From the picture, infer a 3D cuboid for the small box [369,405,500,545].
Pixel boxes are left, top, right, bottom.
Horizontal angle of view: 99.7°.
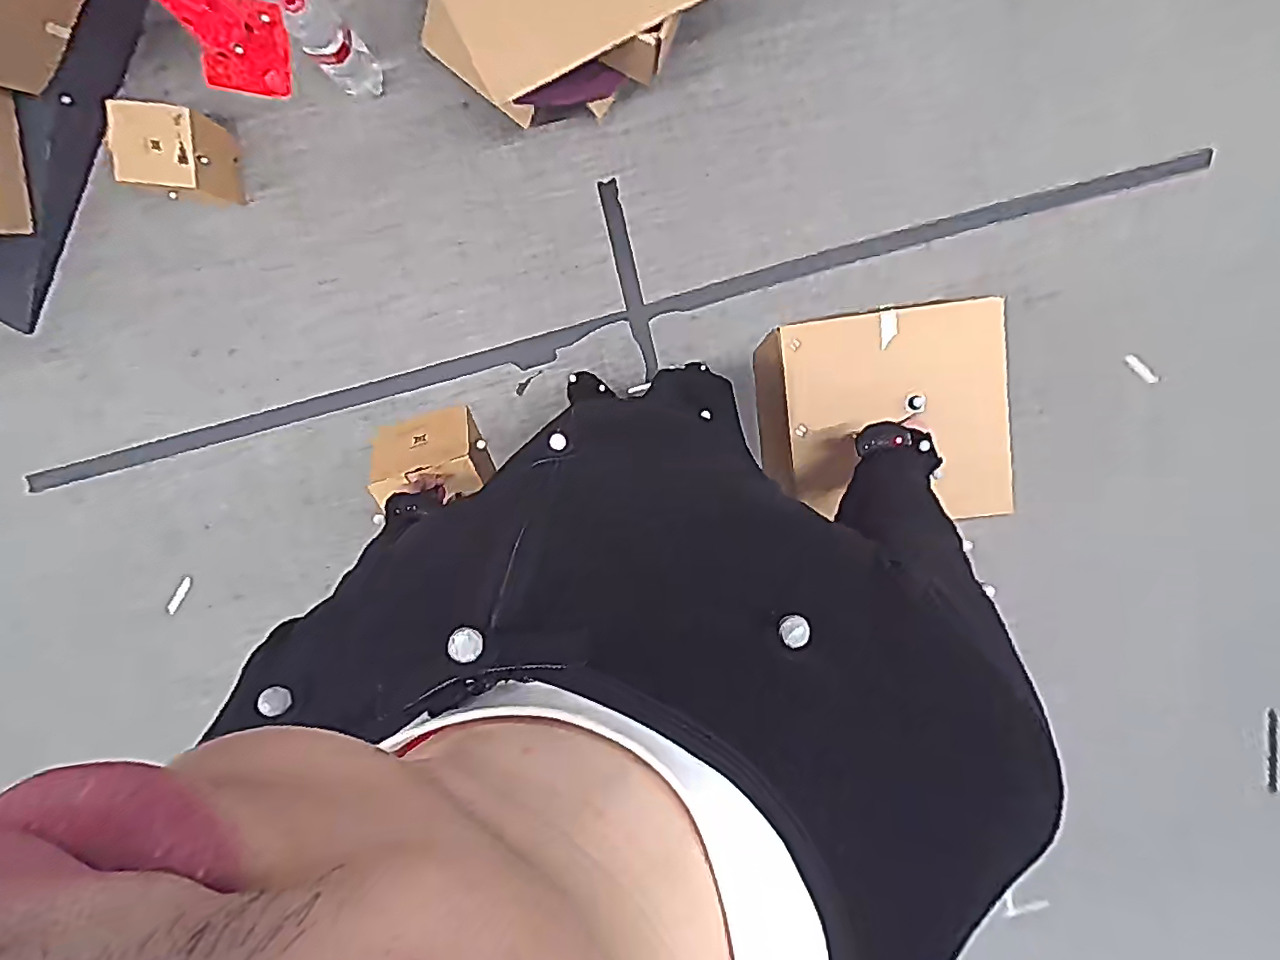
[{"bbox_3d":[-0.359,-0.004,0.971,0.168,0.179,0.176,-17,129,-6],"label":"small box"}]
